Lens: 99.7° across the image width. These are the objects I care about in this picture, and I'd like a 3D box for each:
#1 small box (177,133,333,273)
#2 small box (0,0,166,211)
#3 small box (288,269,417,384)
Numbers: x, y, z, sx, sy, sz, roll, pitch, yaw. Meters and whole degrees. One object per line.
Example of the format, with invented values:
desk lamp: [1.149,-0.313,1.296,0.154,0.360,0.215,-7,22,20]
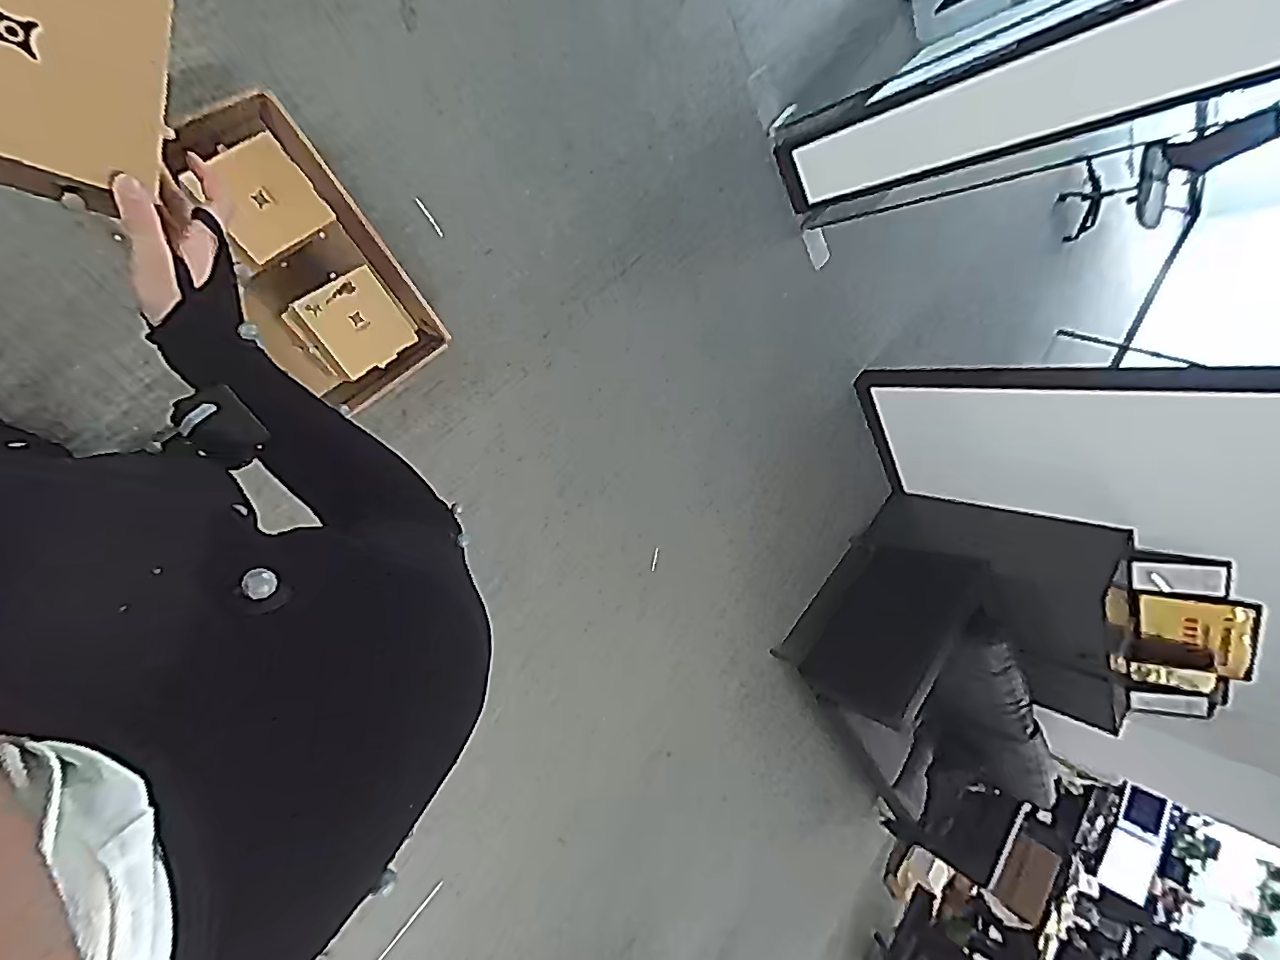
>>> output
small box: [-0.733,-0.521,1.040,0.179,0.176,0.168,-47,125,-21]
small box: [-0.483,-0.316,0.398,0.179,0.176,0.168,3,100,-48]
small box: [-0.619,-0.325,1.160,0.168,0.176,0.179,-42,121,-23]
